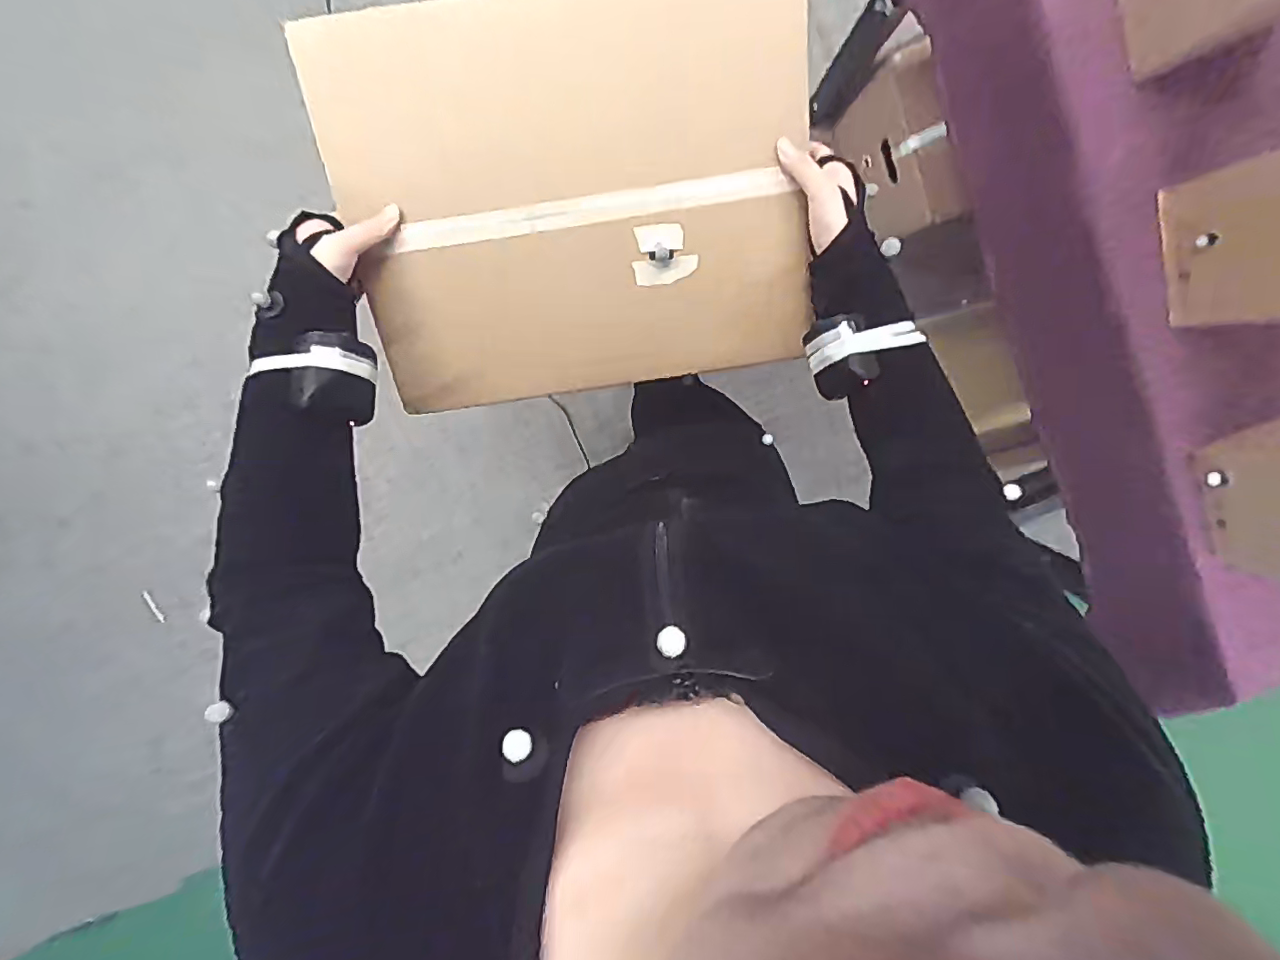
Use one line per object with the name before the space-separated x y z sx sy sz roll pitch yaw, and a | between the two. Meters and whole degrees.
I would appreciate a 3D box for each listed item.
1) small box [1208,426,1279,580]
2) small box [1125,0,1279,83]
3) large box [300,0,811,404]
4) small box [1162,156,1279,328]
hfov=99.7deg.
small box | 0.834 0.027 0.637 0.179 0.176 0.168 -21 101 5
small box | 0.607 -0.536 0.514 0.168 0.176 0.179 -21 101 7
large box | -0.060 -0.298 0.611 0.408 0.320 0.320 -8 113 0
small box | 0.723 -0.268 0.574 0.179 0.176 0.168 -16 102 6
